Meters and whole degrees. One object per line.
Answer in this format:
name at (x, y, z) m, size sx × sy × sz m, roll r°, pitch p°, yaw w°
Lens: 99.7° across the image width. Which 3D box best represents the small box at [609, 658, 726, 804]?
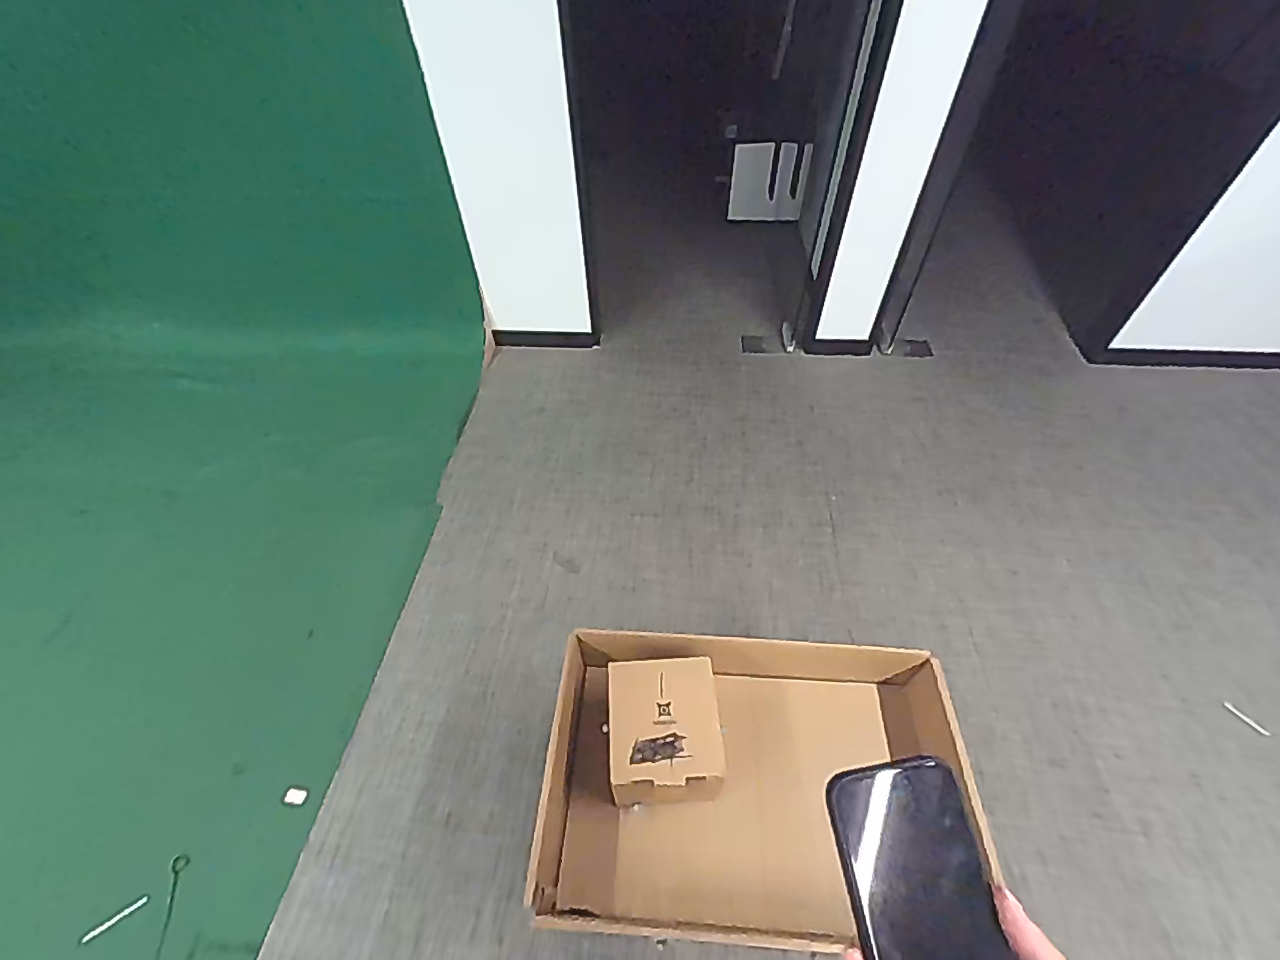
small box at (0.039, 0.406, 0.865) m, size 0.168 × 0.176 × 0.179 m, roll -4°, pitch 49°, yaw -1°
